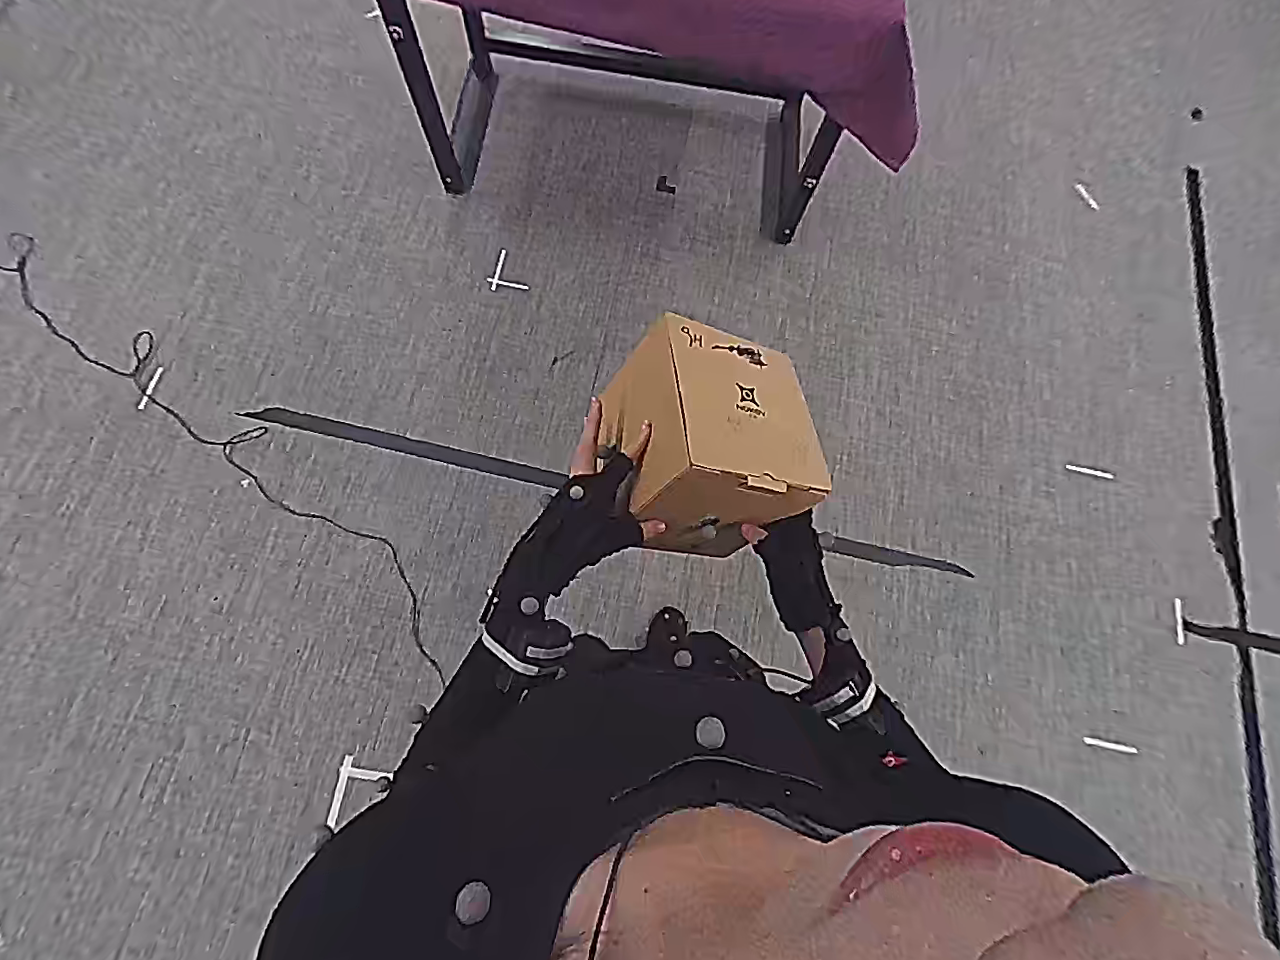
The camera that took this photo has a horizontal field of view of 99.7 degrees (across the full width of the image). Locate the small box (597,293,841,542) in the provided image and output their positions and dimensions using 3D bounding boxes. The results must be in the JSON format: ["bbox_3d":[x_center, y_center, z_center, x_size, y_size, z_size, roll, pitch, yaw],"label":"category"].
[{"bbox_3d":[0.067,-0.048,0.554,0.168,0.176,0.179,10,58,-30],"label":"small box"}]
